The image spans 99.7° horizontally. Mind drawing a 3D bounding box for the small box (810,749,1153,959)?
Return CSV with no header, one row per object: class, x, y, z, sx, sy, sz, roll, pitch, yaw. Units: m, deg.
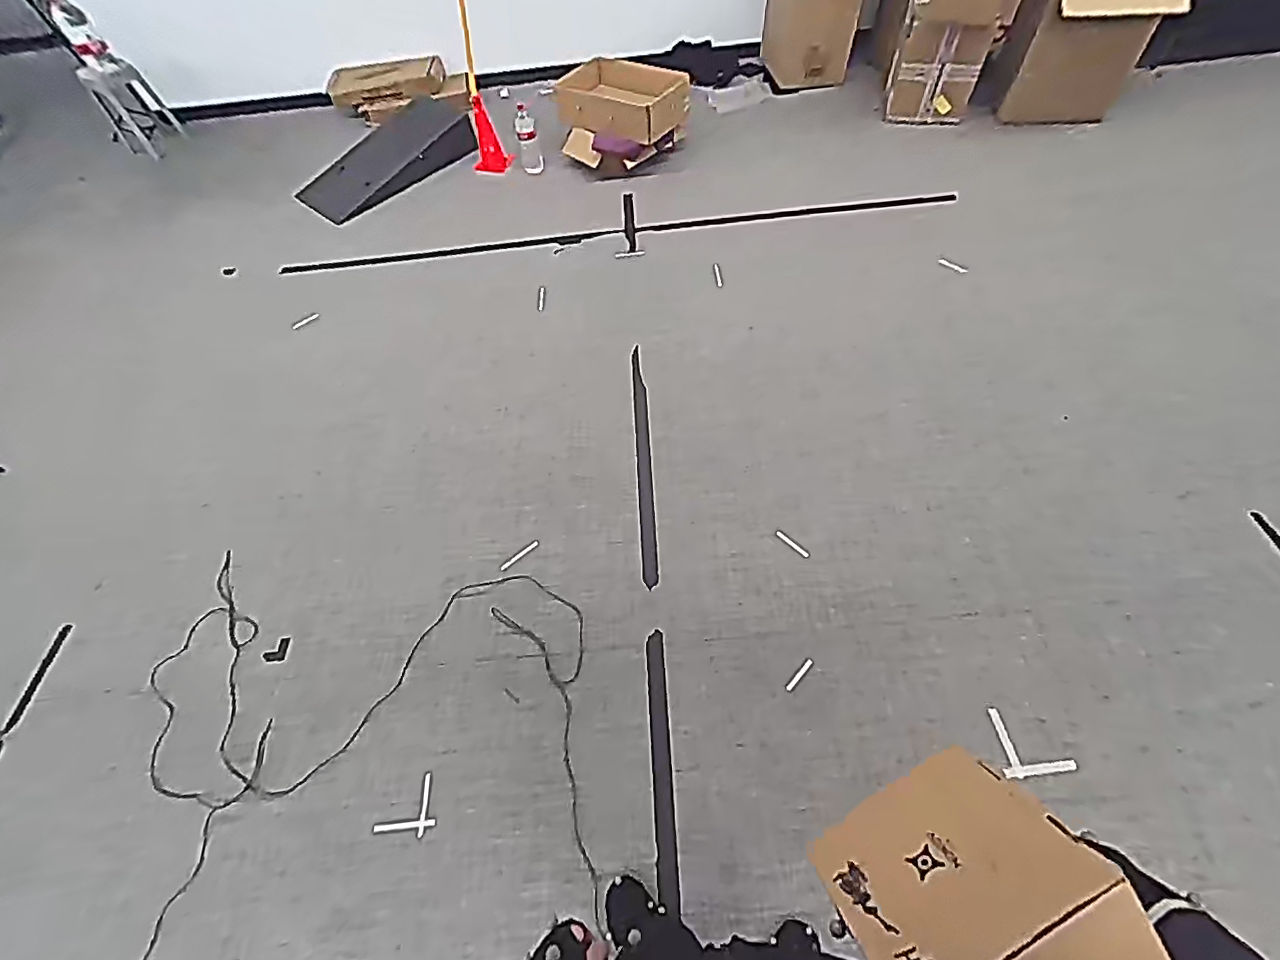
small box,0.282,0.377,0.448,0.179,0.168,0.176,-31,95,-4
